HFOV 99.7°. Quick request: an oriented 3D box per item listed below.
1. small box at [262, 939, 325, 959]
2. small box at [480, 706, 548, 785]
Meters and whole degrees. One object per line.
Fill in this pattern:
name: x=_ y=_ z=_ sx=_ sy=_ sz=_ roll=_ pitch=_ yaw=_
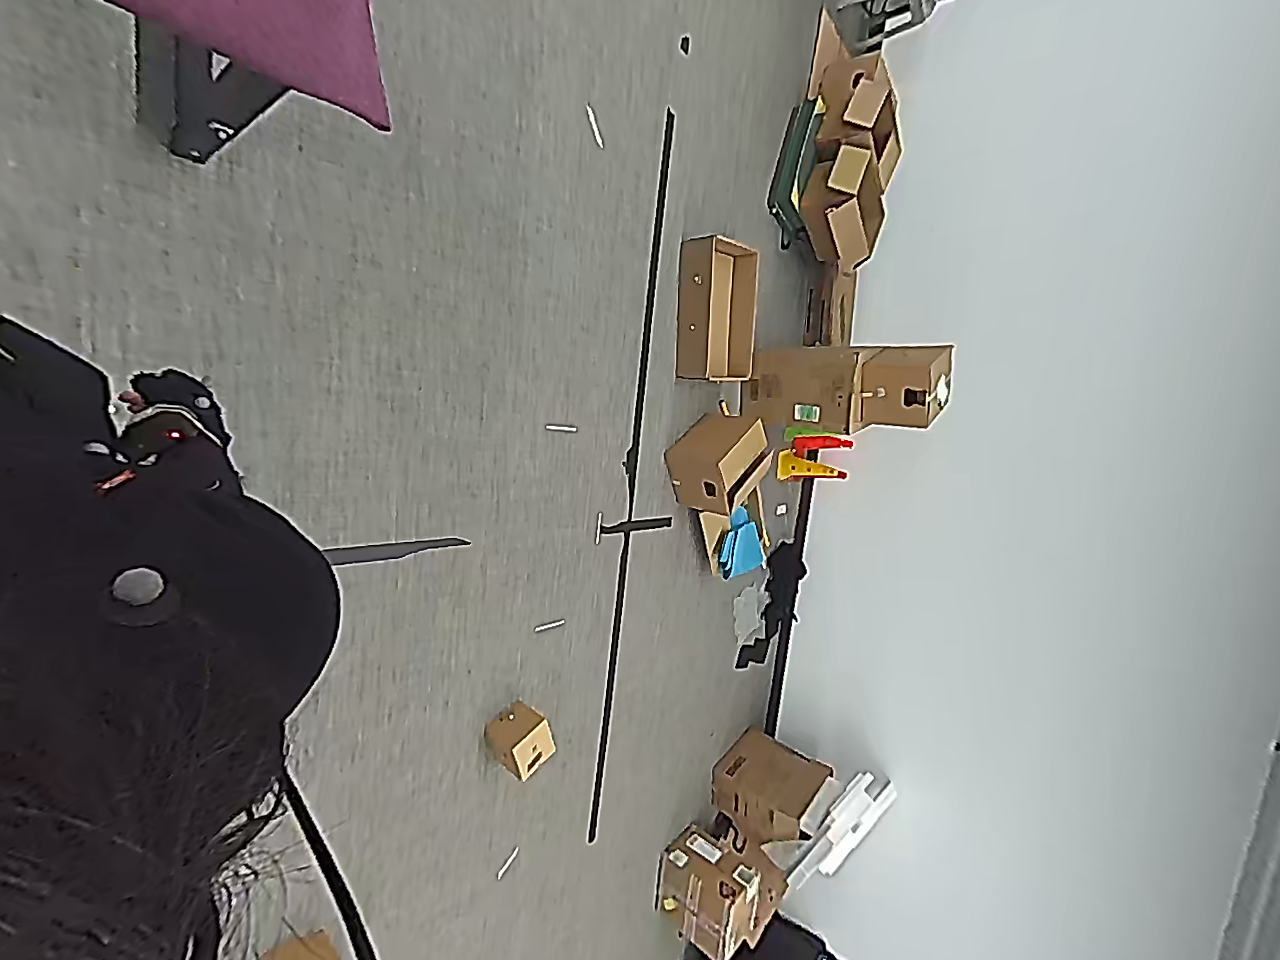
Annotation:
small box: x=-1.000 y=1.456 z=1.513 sx=0.179 sy=0.176 sz=0.168 roll=19 pitch=86 yaw=-53
small box: x=-0.475 y=0.992 z=2.034 sx=0.168 sy=0.176 sz=0.179 roll=-32 pitch=122 yaw=-43
